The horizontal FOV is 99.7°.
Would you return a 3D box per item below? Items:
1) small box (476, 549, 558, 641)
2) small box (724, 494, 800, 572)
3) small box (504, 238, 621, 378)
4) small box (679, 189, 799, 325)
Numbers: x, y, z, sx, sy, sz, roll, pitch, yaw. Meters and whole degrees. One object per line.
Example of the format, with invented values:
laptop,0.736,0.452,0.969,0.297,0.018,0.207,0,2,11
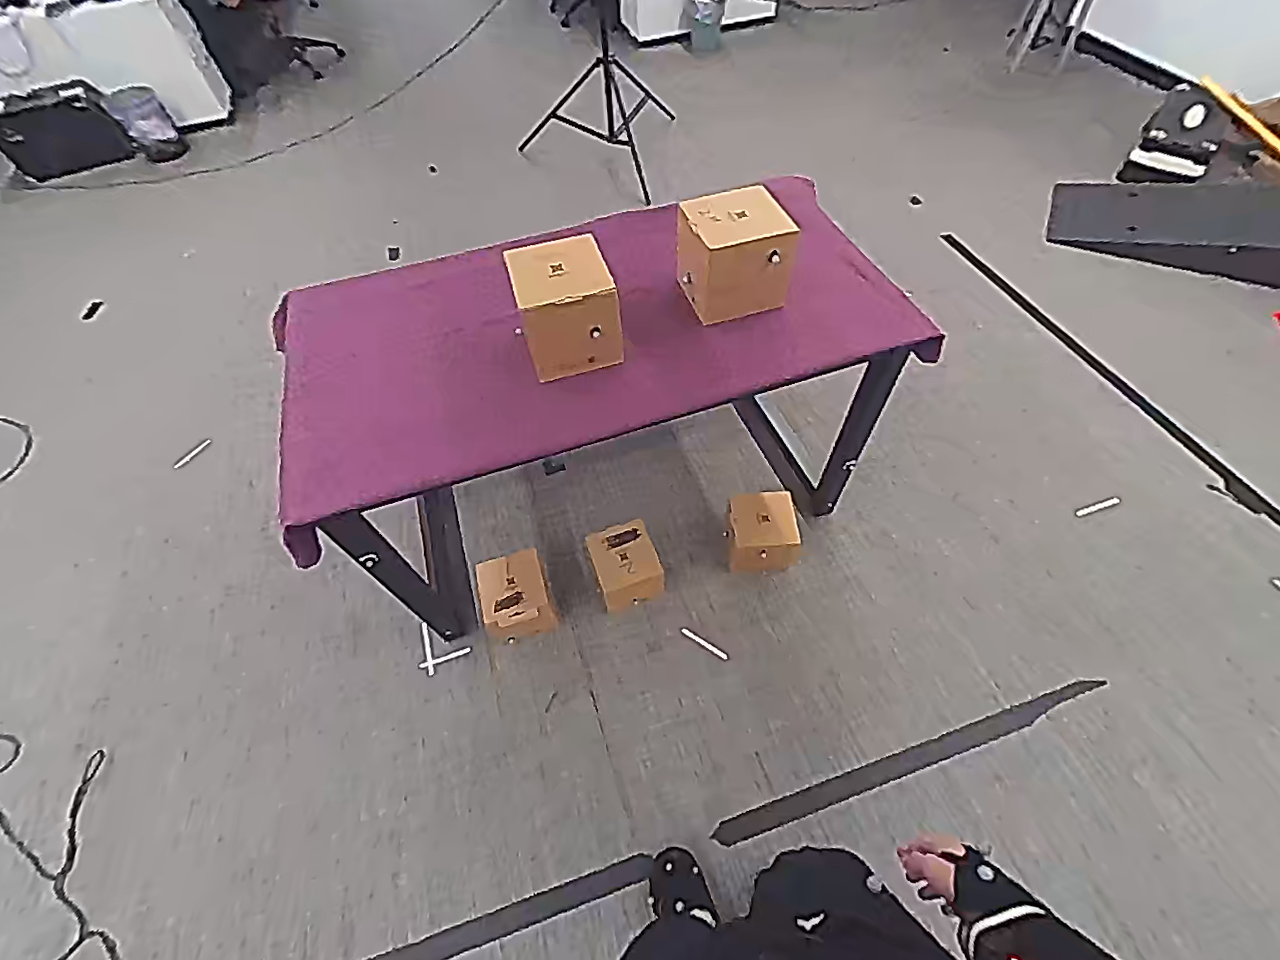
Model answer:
small box,-0.328,0.319,1.461,0.168,0.176,0.179,-16,56,-8
small box,0.339,0.153,1.540,0.179,0.176,0.168,-4,57,2
small box,-0.137,-0.308,0.993,0.168,0.176,0.179,-16,55,-9
small box,0.183,-0.432,1.057,0.179,0.176,0.168,-16,56,-7
